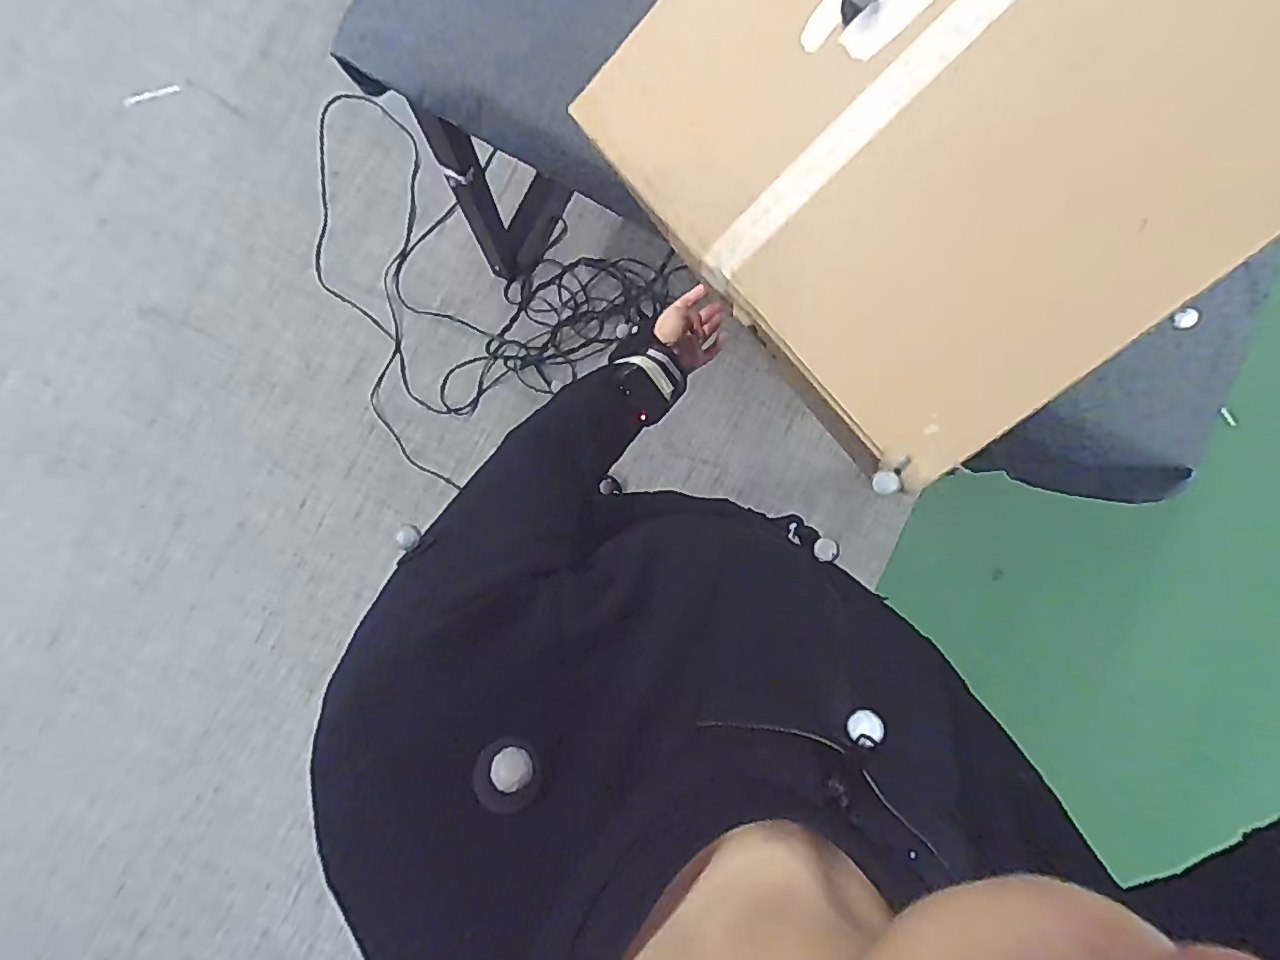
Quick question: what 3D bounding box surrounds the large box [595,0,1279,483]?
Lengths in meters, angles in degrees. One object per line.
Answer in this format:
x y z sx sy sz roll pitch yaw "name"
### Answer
0.254 -0.241 0.391 0.408 0.320 0.320 -43 73 18 "large box"
